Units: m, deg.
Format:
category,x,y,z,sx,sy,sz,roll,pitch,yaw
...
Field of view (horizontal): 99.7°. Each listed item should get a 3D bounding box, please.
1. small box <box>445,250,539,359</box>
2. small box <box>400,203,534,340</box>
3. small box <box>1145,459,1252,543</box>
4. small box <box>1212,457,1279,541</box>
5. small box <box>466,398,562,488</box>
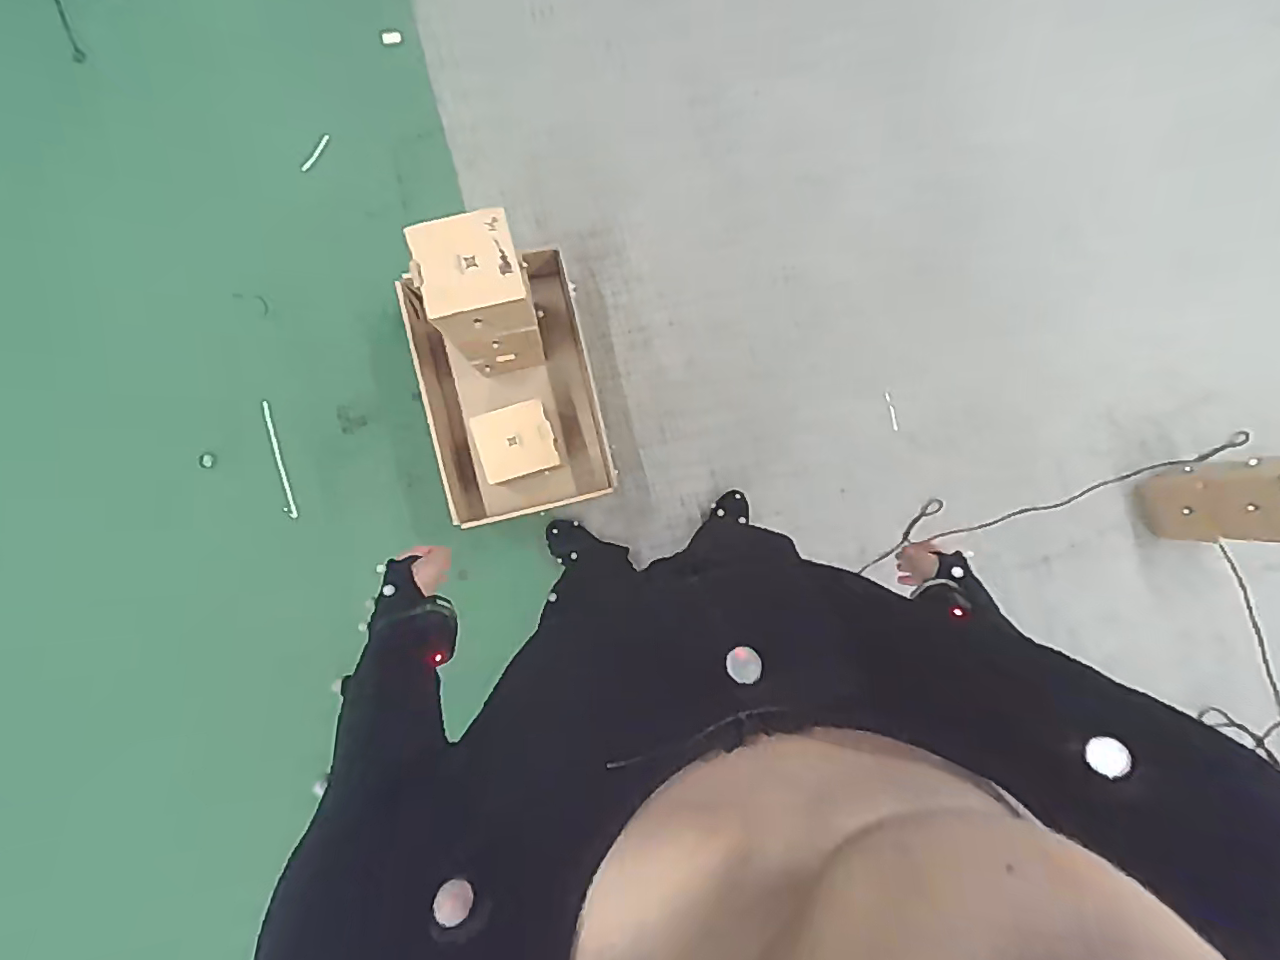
category,x,y,z,sx,sy,sz,roll,pitch,yaw
small box,-0.324,-0.369,1.163,0.179,0.176,0.168,-12,90,-6
small box,-0.309,-0.373,0.999,0.179,0.176,0.168,-15,90,-4
small box,1.559,0.058,1.486,0.168,0.176,0.179,-24,90,-3
small box,1.584,0.044,1.324,0.168,0.176,0.179,-20,89,-4
small box,-0.300,-0.083,1.319,0.179,0.176,0.168,-18,88,-5
